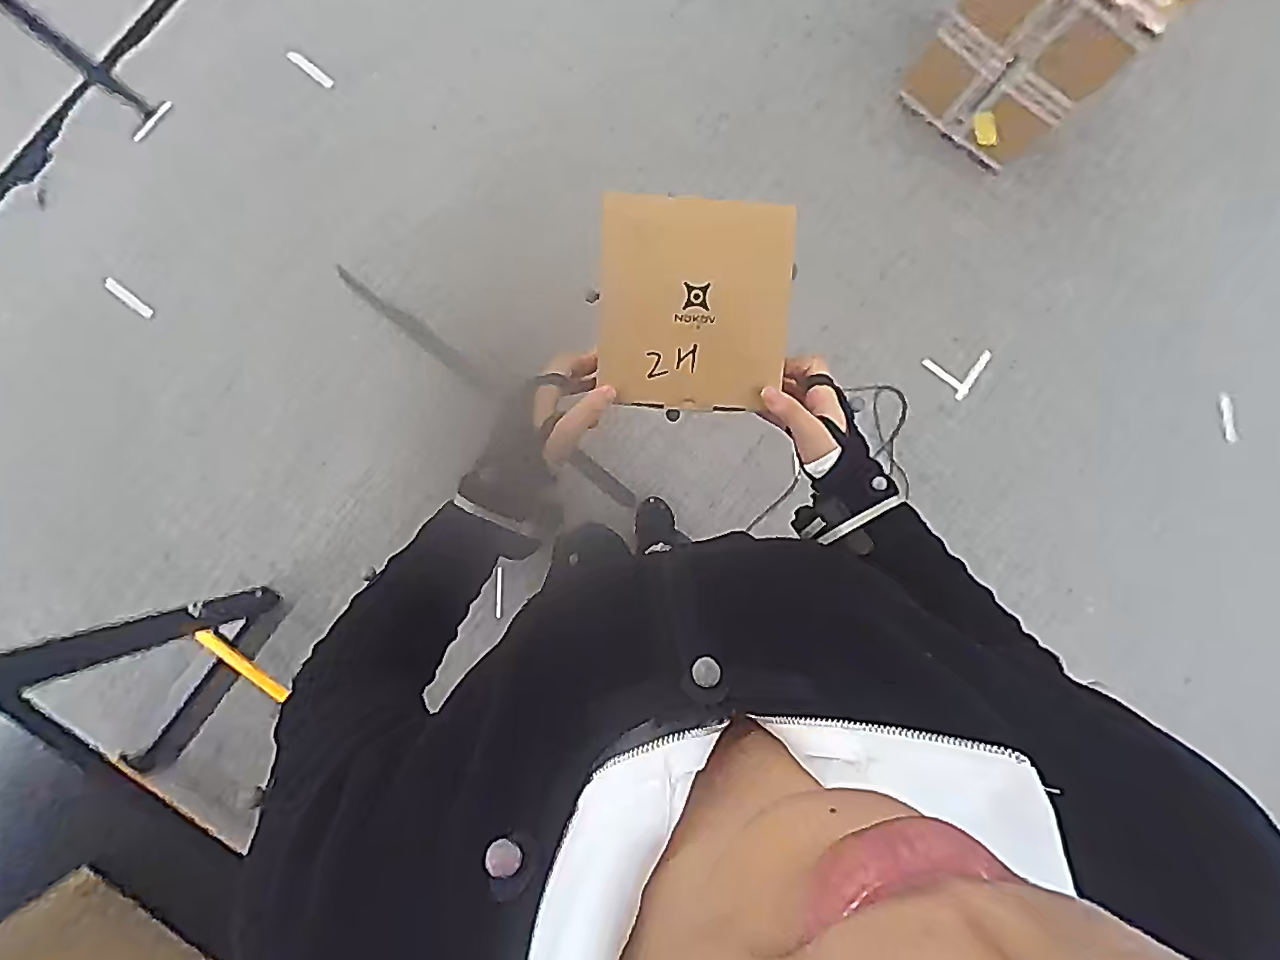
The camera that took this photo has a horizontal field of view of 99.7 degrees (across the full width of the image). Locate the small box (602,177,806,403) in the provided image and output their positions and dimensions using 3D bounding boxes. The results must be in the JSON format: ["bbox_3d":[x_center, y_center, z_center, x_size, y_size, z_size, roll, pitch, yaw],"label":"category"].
[{"bbox_3d":[0.049,-0.170,0.537,0.168,0.176,0.179,3,99,-3],"label":"small box"}]
